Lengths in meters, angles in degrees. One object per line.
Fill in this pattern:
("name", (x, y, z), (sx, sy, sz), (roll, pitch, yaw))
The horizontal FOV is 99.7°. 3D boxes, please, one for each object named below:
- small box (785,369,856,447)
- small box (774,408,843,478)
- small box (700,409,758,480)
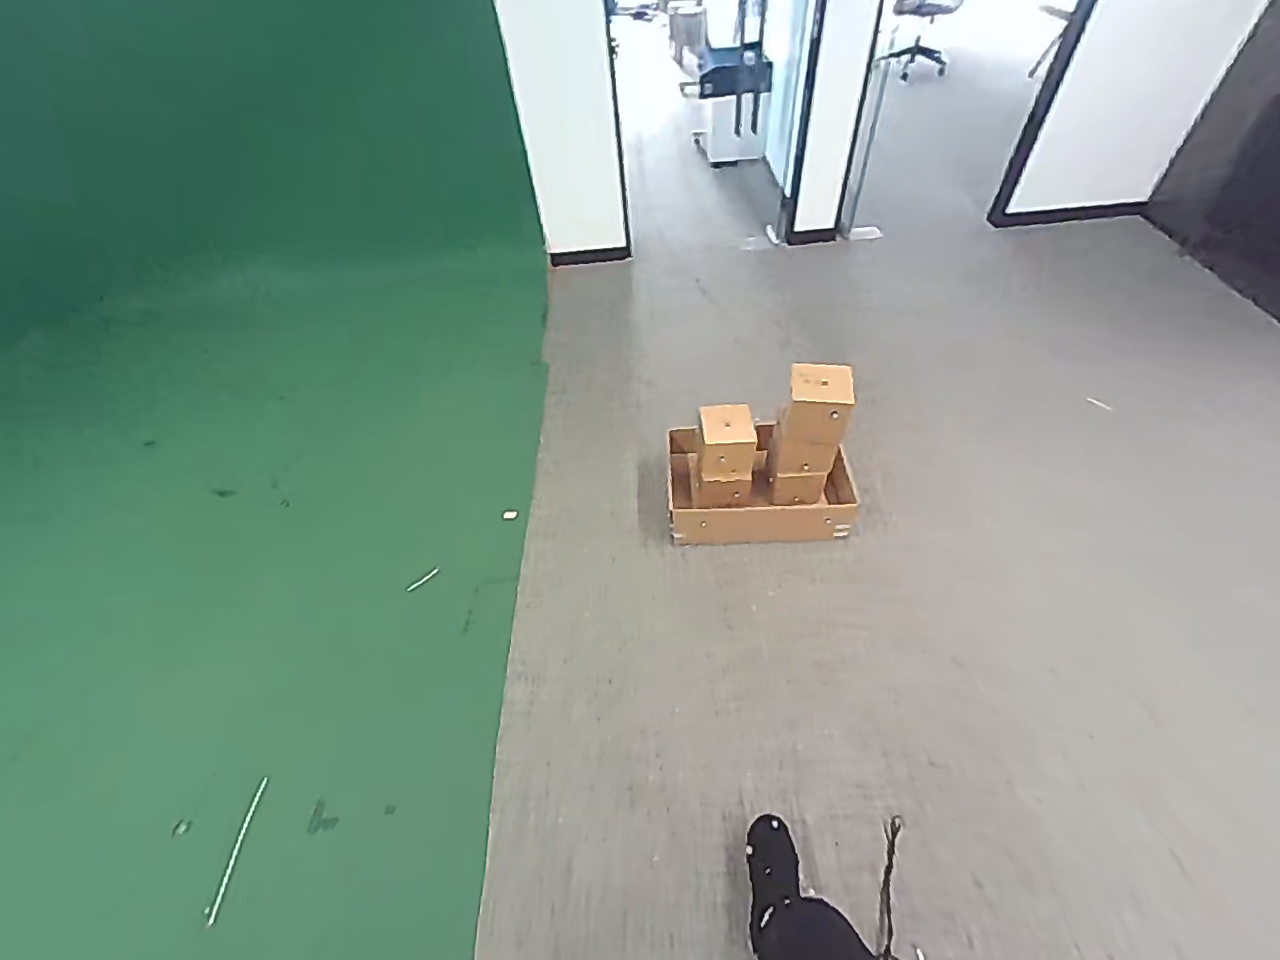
("small box", (0.544, -0.215, 1.640), (0.179, 0.176, 0.168), (5, 51, 10))
("small box", (0.546, -0.119, 1.776), (0.179, 0.176, 0.168), (-1, 50, 5))
("small box", (0.291, -0.112, 1.799), (0.168, 0.176, 0.179), (-3, 49, 0))
